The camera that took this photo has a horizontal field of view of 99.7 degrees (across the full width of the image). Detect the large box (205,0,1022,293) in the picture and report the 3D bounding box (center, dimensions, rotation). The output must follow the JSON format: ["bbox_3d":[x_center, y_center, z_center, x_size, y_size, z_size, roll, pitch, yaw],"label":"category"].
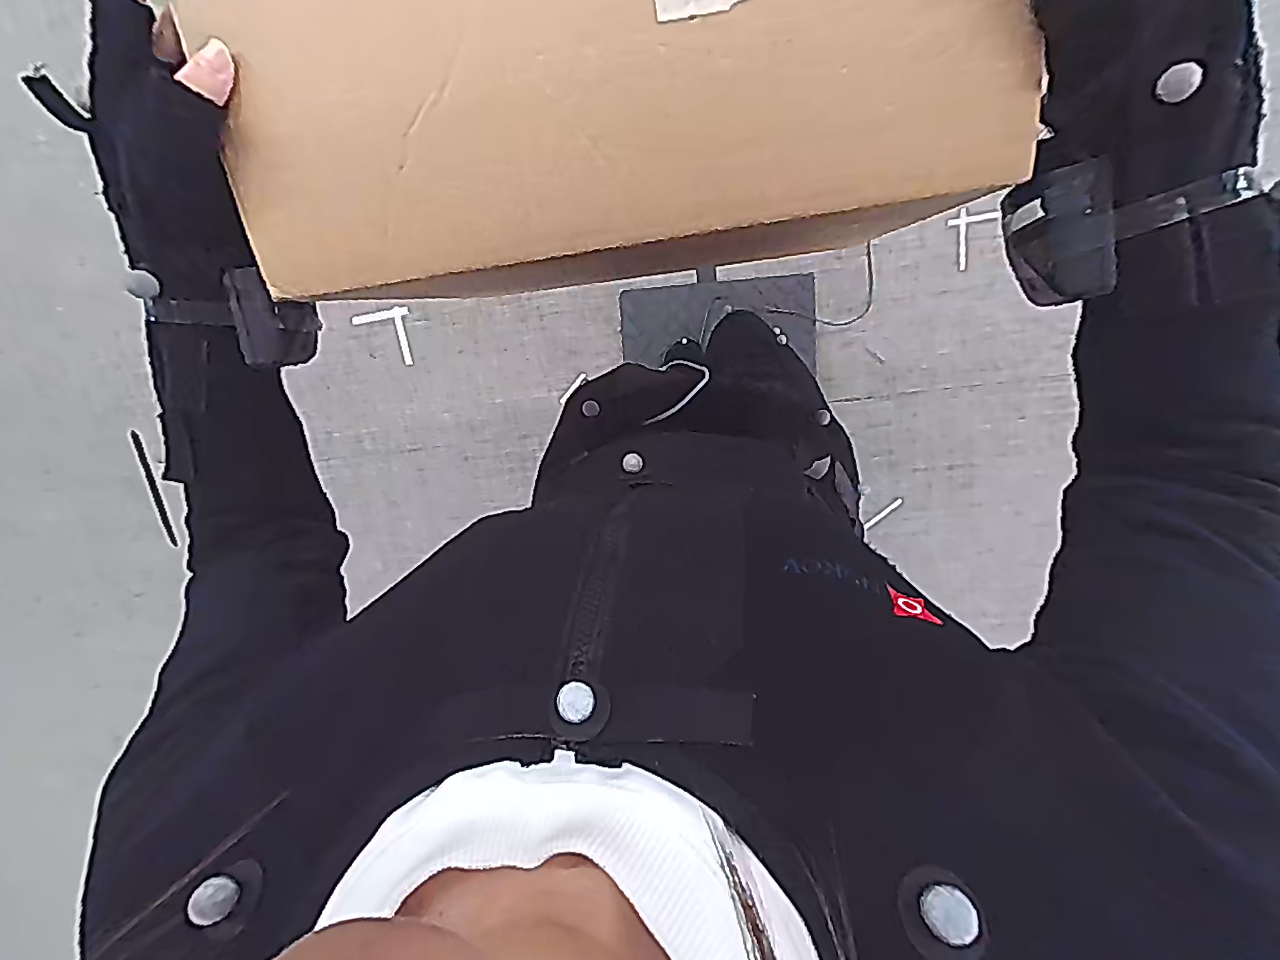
[{"bbox_3d":[-0.017,-0.327,0.390,0.408,0.320,0.320,-5,108,9],"label":"large box"}]

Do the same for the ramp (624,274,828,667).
[{"bbox_3d":[0.220,-0.005,1.410,0.509,0.206,0.991,-4,103,11],"label":"ramp"}]
